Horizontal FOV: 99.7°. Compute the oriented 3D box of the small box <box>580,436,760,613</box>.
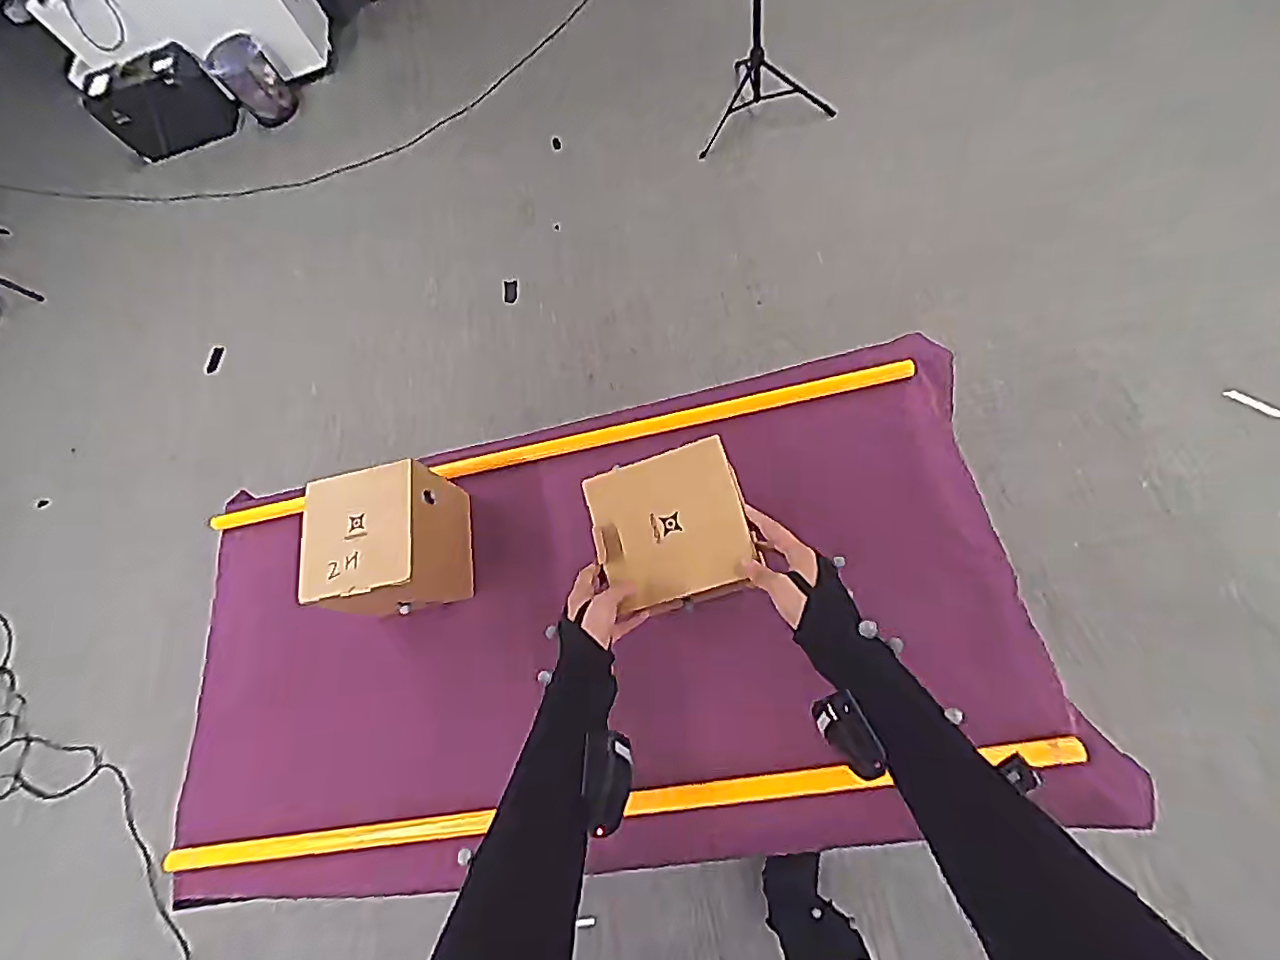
[{"bbox_3d":[0.048,0.065,0.689,0.179,0.176,0.168,-19,73,12],"label":"small box"}]

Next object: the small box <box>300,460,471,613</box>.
[{"bbox_3d":[-0.367,0.092,0.807,0.168,0.176,0.179,-12,69,8],"label":"small box"}]
